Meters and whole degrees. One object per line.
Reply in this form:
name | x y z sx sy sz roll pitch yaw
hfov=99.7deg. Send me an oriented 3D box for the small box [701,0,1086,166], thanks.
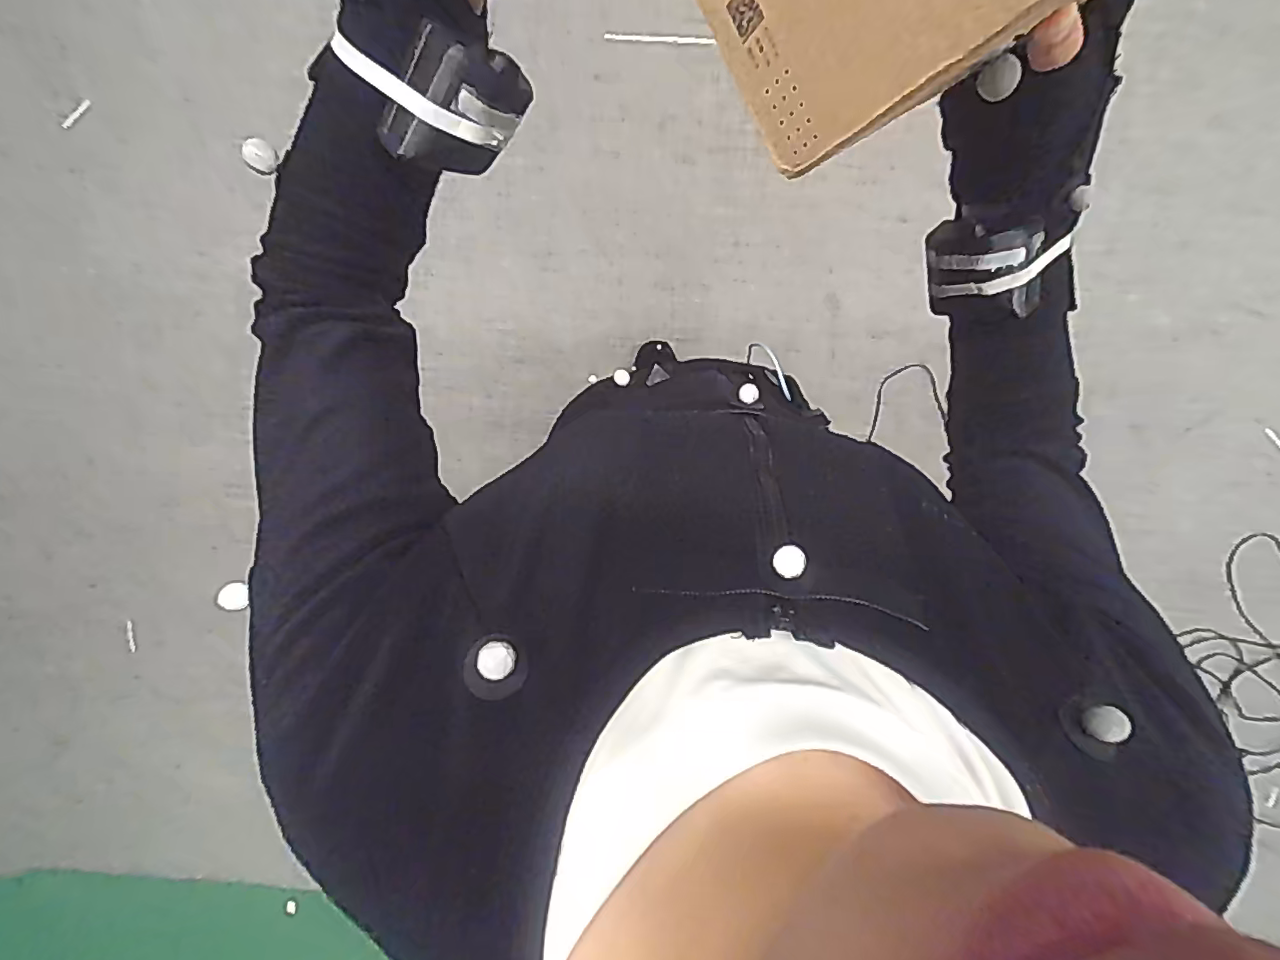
small box | 0.118 -0.239 0.163 0.179 0.176 0.168 -36 106 -16
